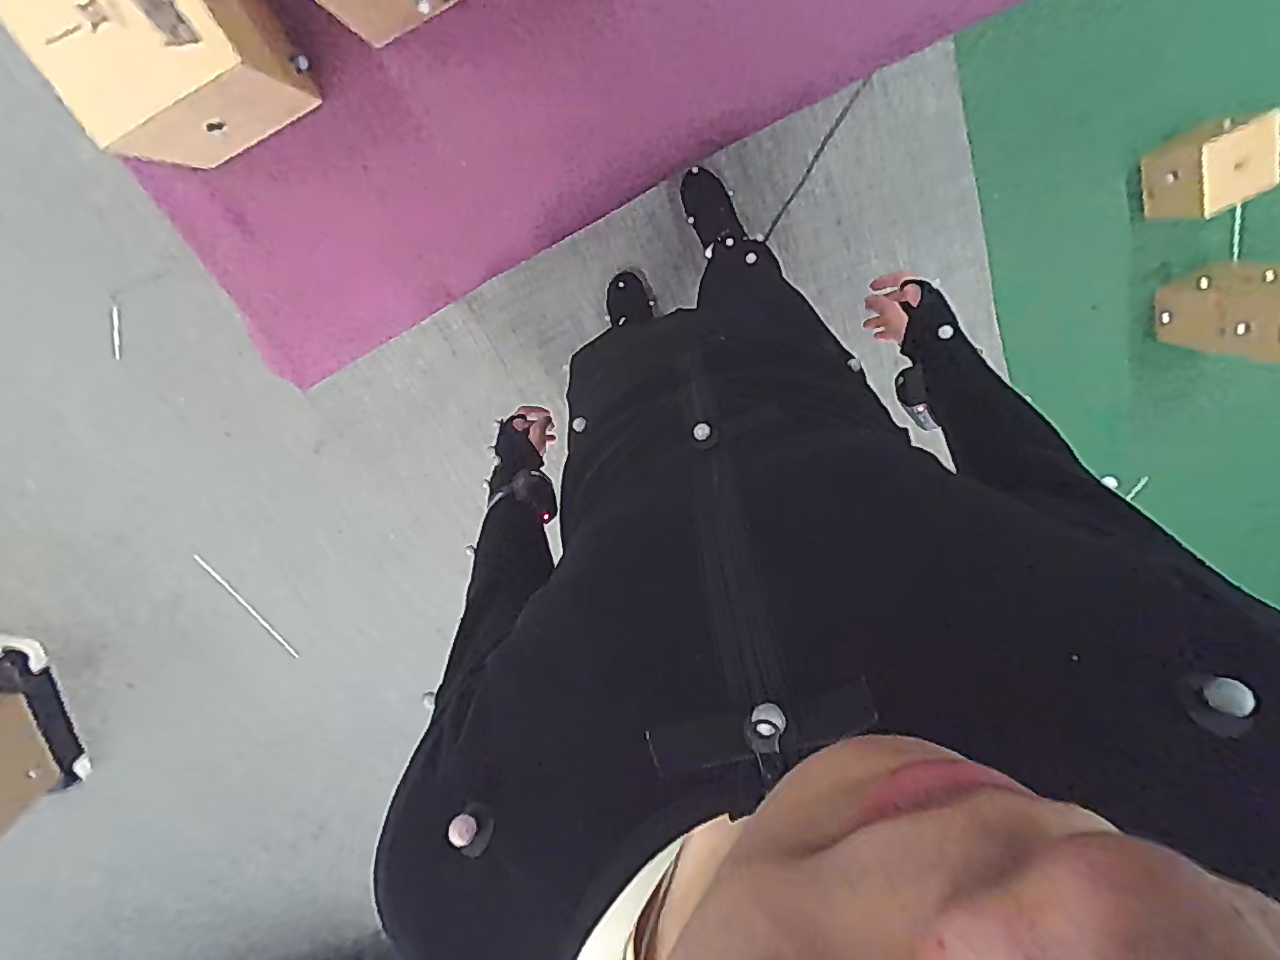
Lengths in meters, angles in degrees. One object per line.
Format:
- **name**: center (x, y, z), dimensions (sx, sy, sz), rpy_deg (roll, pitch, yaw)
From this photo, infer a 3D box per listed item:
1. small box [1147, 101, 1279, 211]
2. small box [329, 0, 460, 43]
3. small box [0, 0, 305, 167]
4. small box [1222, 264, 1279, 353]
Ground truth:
- **small box**: center (1.399, -0.782, 1.327), dimensions (0.179, 0.176, 0.168), rpy_deg (-27, 113, 7)
- **small box**: center (-0.270, -0.578, 0.519), dimensions (0.168, 0.176, 0.179), rpy_deg (-24, 114, 8)
- **small box**: center (-0.491, -0.454, 0.562), dimensions (0.179, 0.176, 0.168), rpy_deg (-24, 114, 8)
- **small box**: center (1.591, -0.424, 1.319), dimensions (0.179, 0.176, 0.168), rpy_deg (-22, 115, 8)
